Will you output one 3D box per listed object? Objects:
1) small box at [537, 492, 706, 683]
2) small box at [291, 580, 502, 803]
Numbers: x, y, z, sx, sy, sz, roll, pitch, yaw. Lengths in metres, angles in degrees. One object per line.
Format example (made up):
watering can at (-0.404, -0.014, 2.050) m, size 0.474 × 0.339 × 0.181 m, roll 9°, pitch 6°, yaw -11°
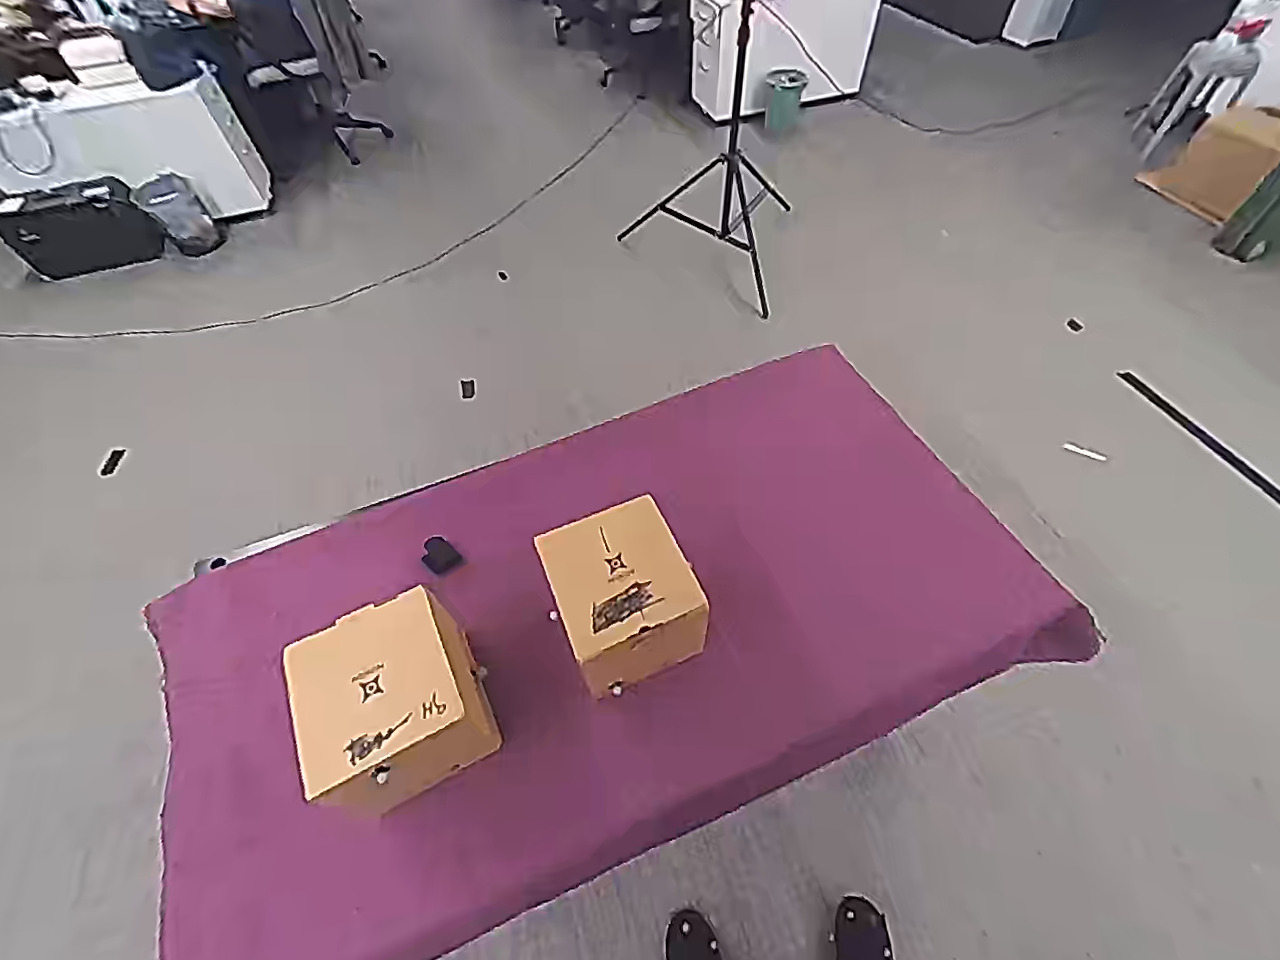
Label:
small box at (-0.022, 0.152, 0.727) m, size 0.168 × 0.176 × 0.179 m, roll -20°, pitch 55°, yaw -12°
small box at (-0.289, 0.261, 0.661) m, size 0.168 × 0.176 × 0.179 m, roll -25°, pitch 56°, yaw -14°
